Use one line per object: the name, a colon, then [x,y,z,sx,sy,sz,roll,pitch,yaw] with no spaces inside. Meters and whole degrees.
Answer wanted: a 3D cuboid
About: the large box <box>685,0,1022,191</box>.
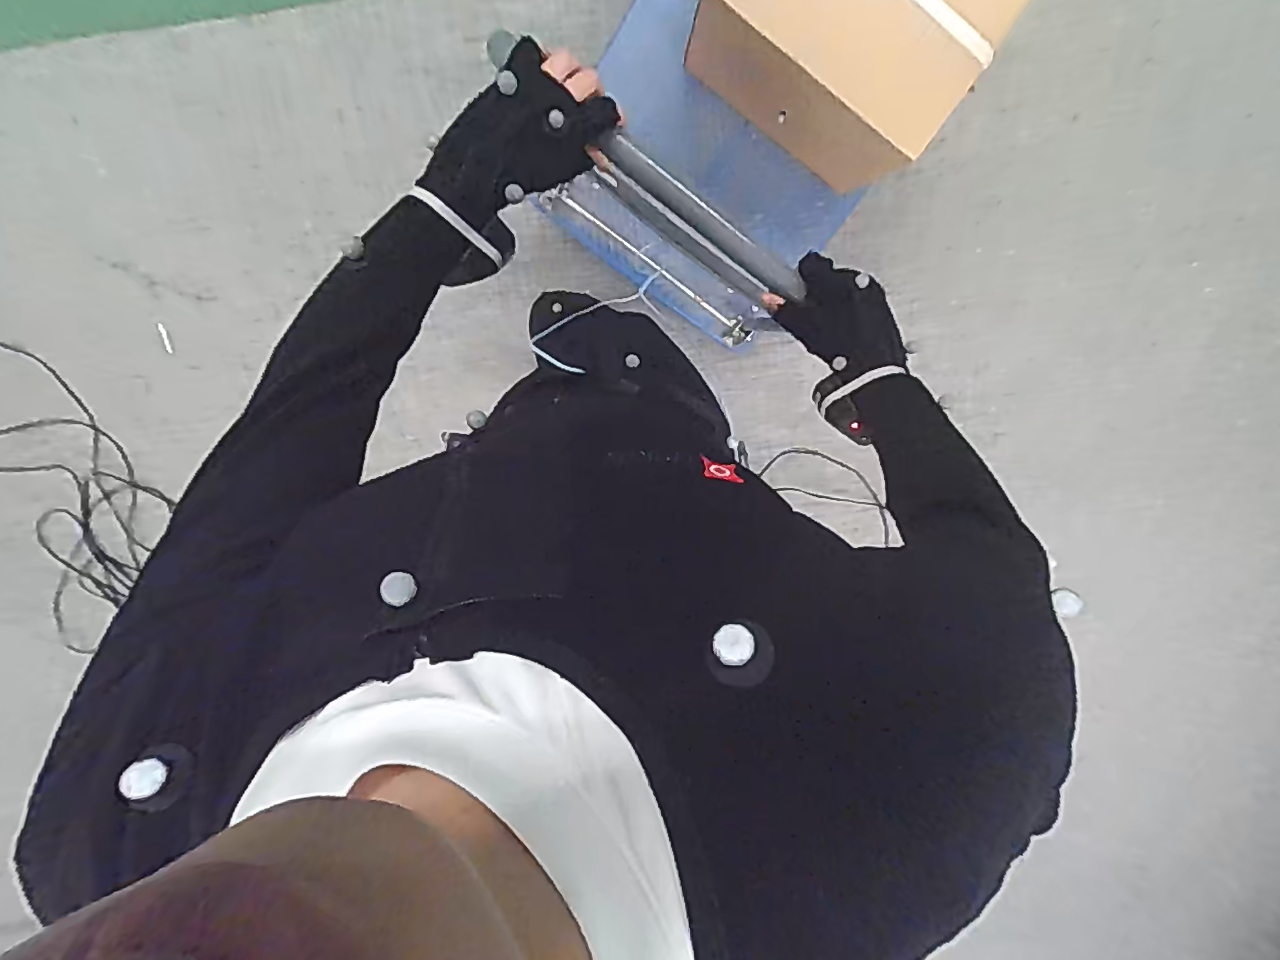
large box: [0.331,-0.761,0.902,0.408,0.320,0.320,32,105,-11]
